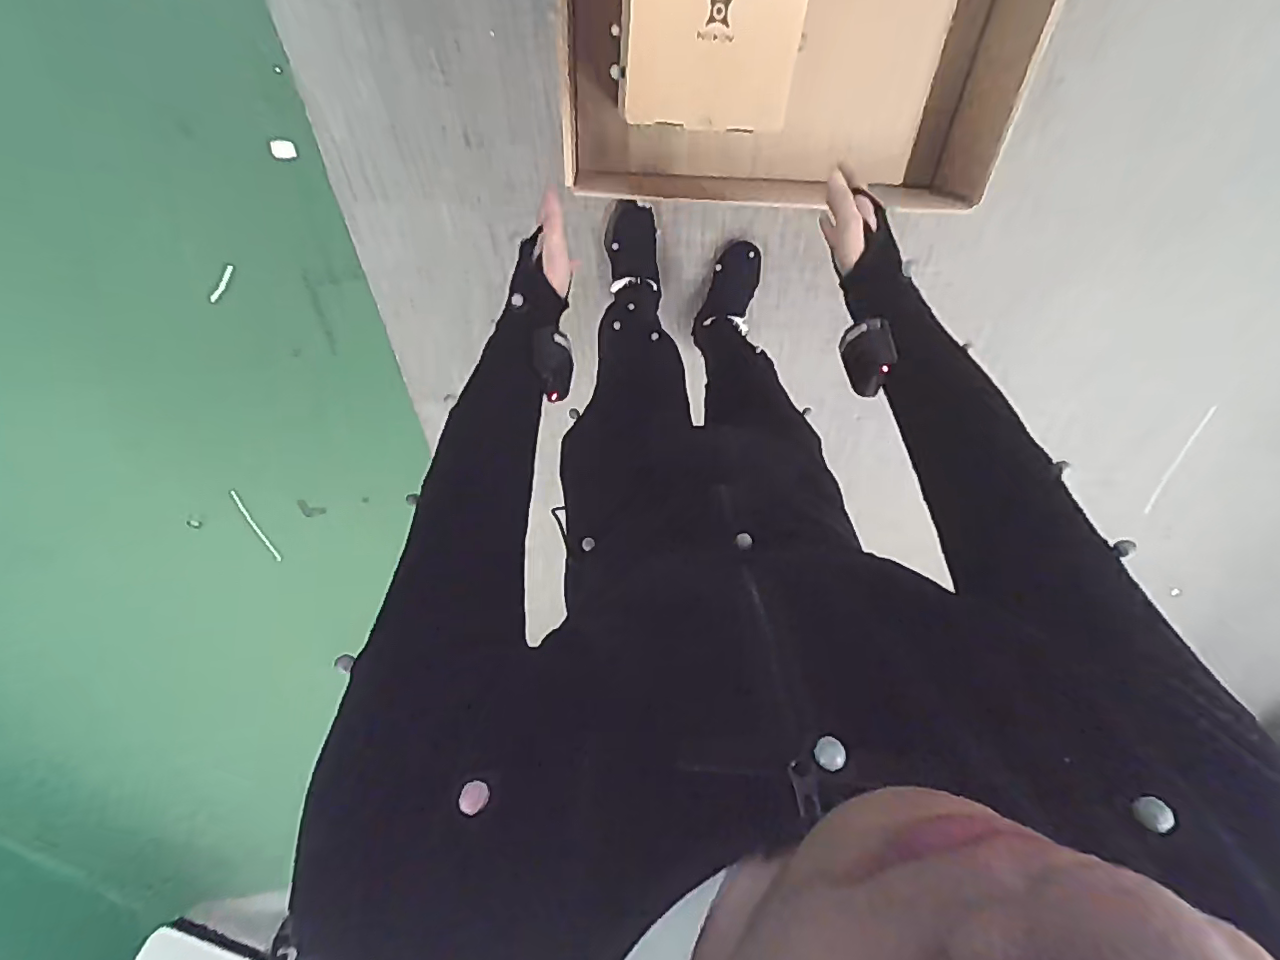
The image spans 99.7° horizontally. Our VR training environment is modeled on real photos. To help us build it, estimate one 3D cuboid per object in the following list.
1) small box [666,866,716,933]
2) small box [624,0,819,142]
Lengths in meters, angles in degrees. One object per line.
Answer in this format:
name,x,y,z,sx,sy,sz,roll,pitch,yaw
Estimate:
small box,0.195,1.642,2.118,0.168,0.176,0.179,-4,129,-4
small box,0.073,-0.472,0.562,0.168,0.176,0.179,1,129,-7
